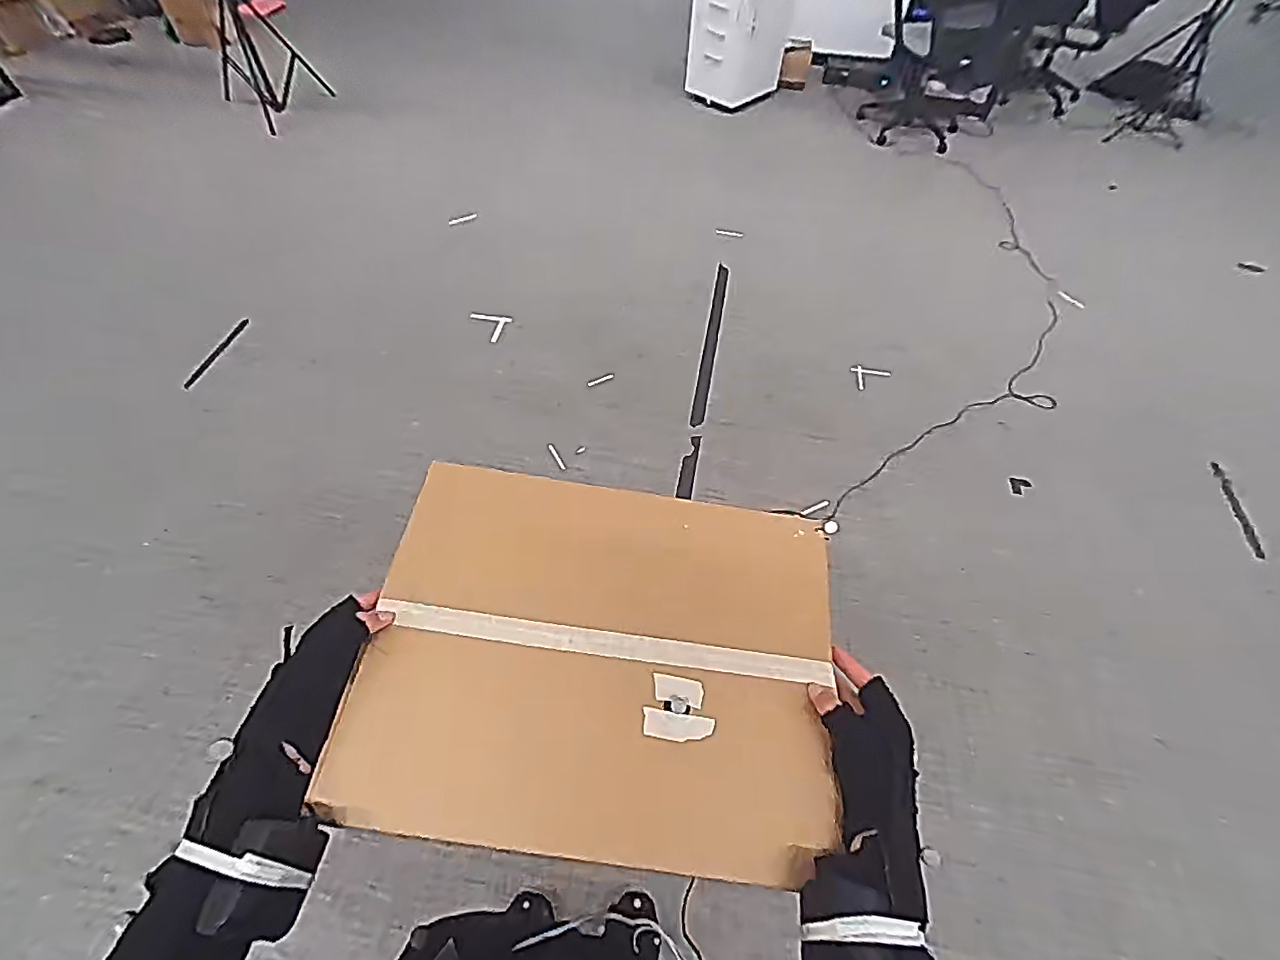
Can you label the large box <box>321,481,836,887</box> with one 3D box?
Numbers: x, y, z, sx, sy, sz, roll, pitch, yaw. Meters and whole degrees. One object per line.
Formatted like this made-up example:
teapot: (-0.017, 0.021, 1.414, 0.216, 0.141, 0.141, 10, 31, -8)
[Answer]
large box: (-0.046, 0.232, 0.611, 0.408, 0.320, 0.320, 9, 60, -2)
